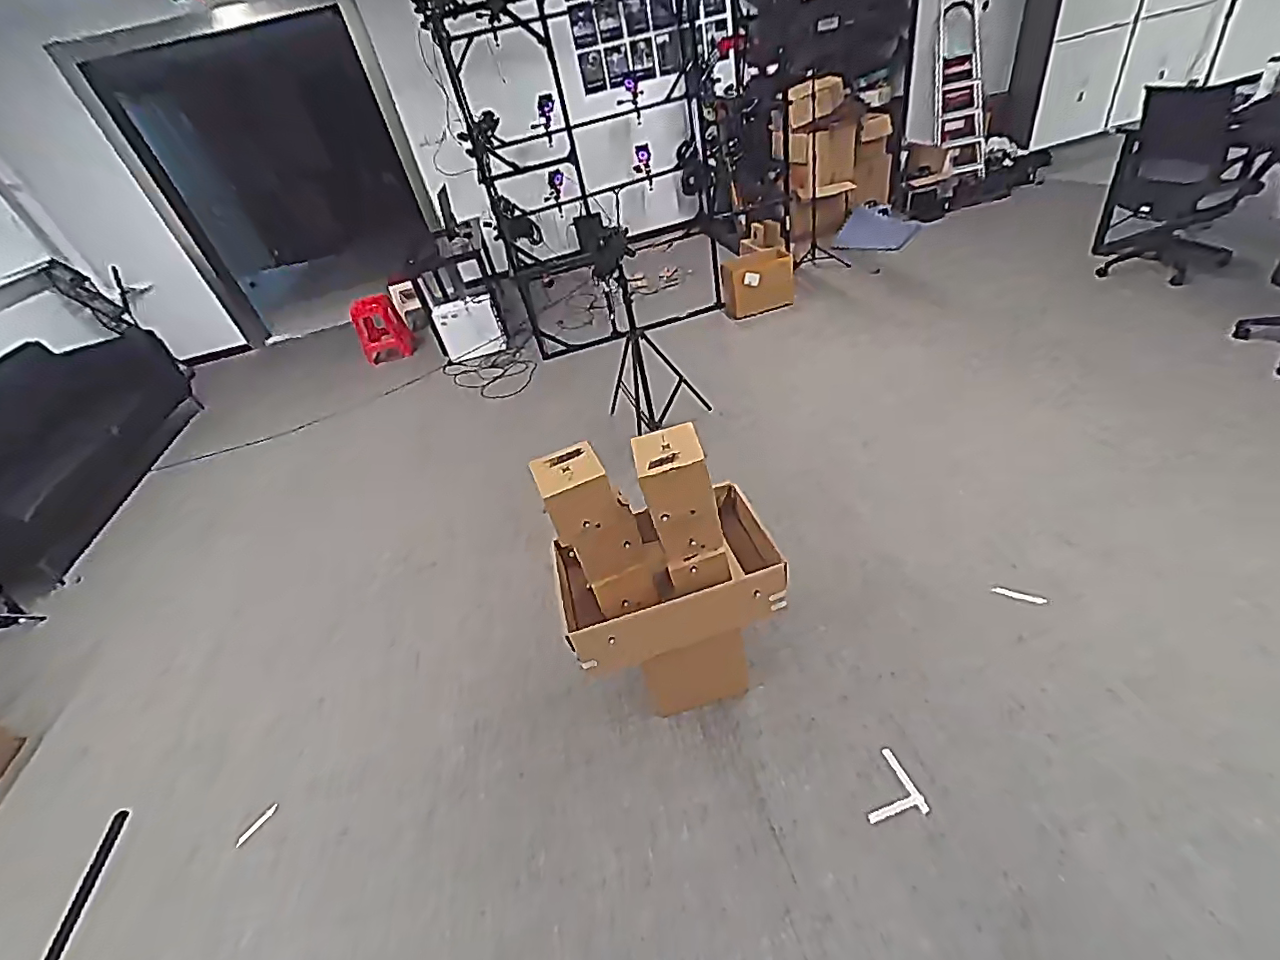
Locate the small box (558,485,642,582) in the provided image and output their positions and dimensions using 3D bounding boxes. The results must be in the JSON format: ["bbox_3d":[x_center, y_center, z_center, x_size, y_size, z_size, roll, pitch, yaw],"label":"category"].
[{"bbox_3d":[-0.105,0.149,1.493,0.179,0.176,0.168,-23,38,-11],"label":"small box"}]

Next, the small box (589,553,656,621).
[{"bbox_3d":[-0.068,0.277,1.588,0.168,0.176,0.179,-23,39,-10],"label":"small box"}]

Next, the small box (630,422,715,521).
[{"bbox_3d":[0.083,-0.014,1.363,0.168,0.176,0.179,-16,38,4],"label":"small box"}]
